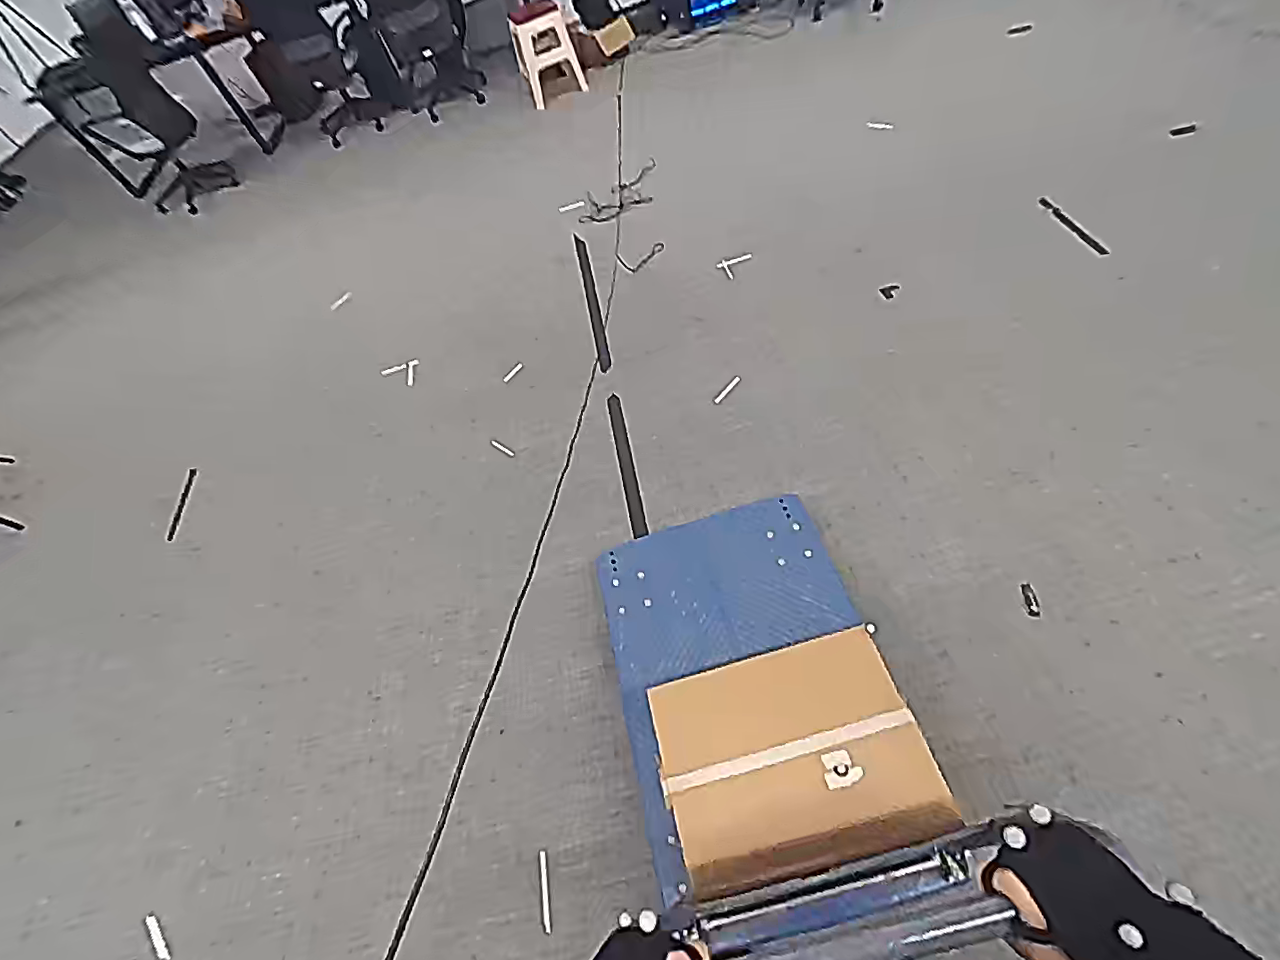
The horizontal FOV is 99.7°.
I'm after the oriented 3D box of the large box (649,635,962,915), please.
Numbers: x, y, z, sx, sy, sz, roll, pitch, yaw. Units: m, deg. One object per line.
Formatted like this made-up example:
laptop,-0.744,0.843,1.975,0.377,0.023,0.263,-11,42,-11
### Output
large box,0.264,0.530,0.972,0.408,0.320,0.320,-17,53,2
